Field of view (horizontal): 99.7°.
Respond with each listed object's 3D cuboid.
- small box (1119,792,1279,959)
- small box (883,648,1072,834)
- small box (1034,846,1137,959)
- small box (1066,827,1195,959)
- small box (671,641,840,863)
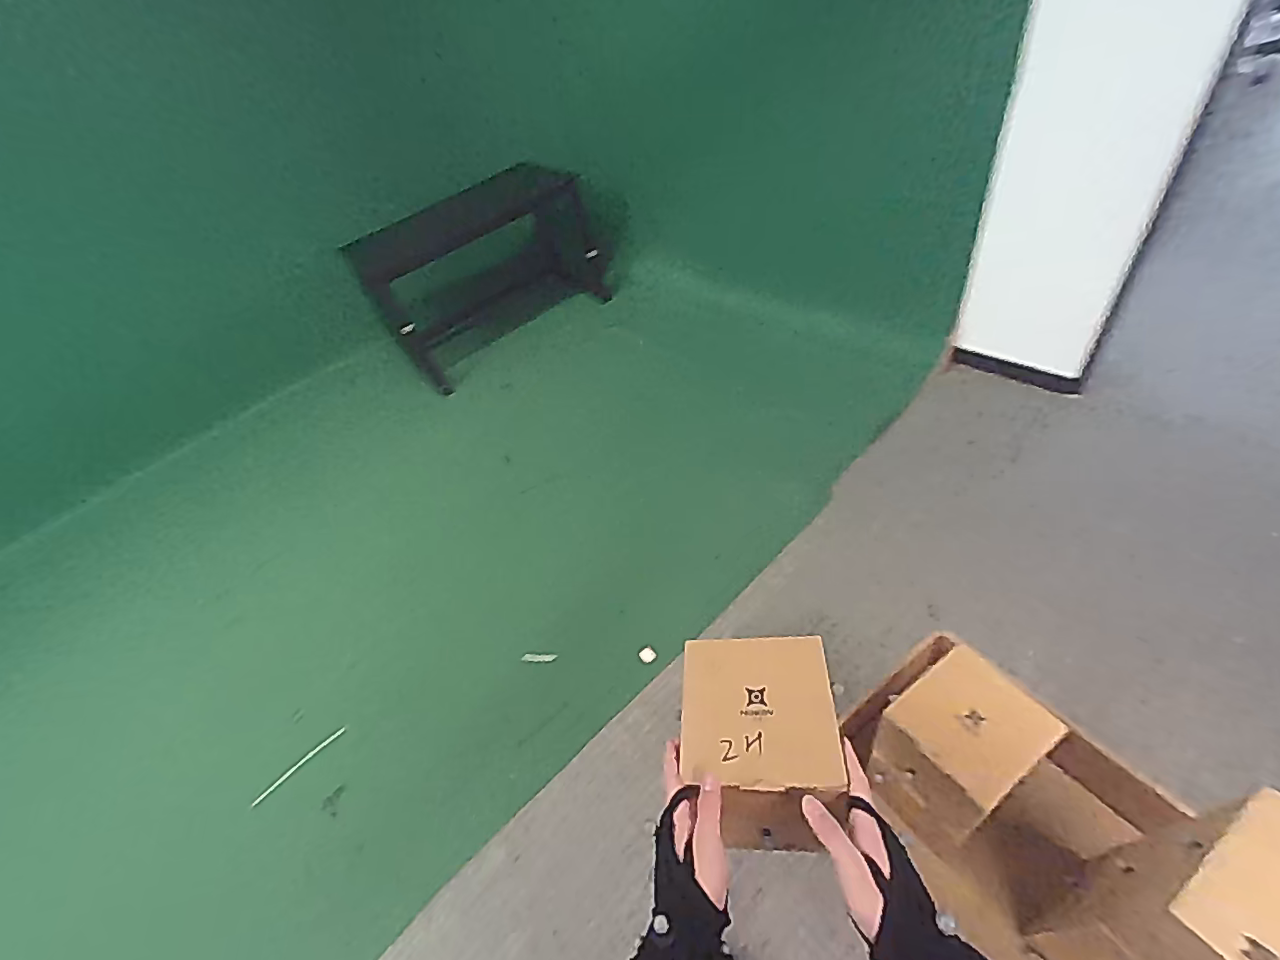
[{"bbox_3d":[0.621,0.449,0.520,0.179,0.176,0.168,-33,46,-14],"label":"small box"},{"bbox_3d":[0.500,0.402,0.832,0.179,0.176,0.168,-33,48,-14],"label":"small box"},{"bbox_3d":[0.695,0.663,0.755,0.179,0.176,0.168,-32,47,-14],"label":"small box"},{"bbox_3d":[0.656,0.557,0.638,0.179,0.176,0.168,-34,47,-13],"label":"small box"},{"bbox_3d":[0.136,0.314,0.638,0.168,0.176,0.179,-6,36,13],"label":"small box"}]
